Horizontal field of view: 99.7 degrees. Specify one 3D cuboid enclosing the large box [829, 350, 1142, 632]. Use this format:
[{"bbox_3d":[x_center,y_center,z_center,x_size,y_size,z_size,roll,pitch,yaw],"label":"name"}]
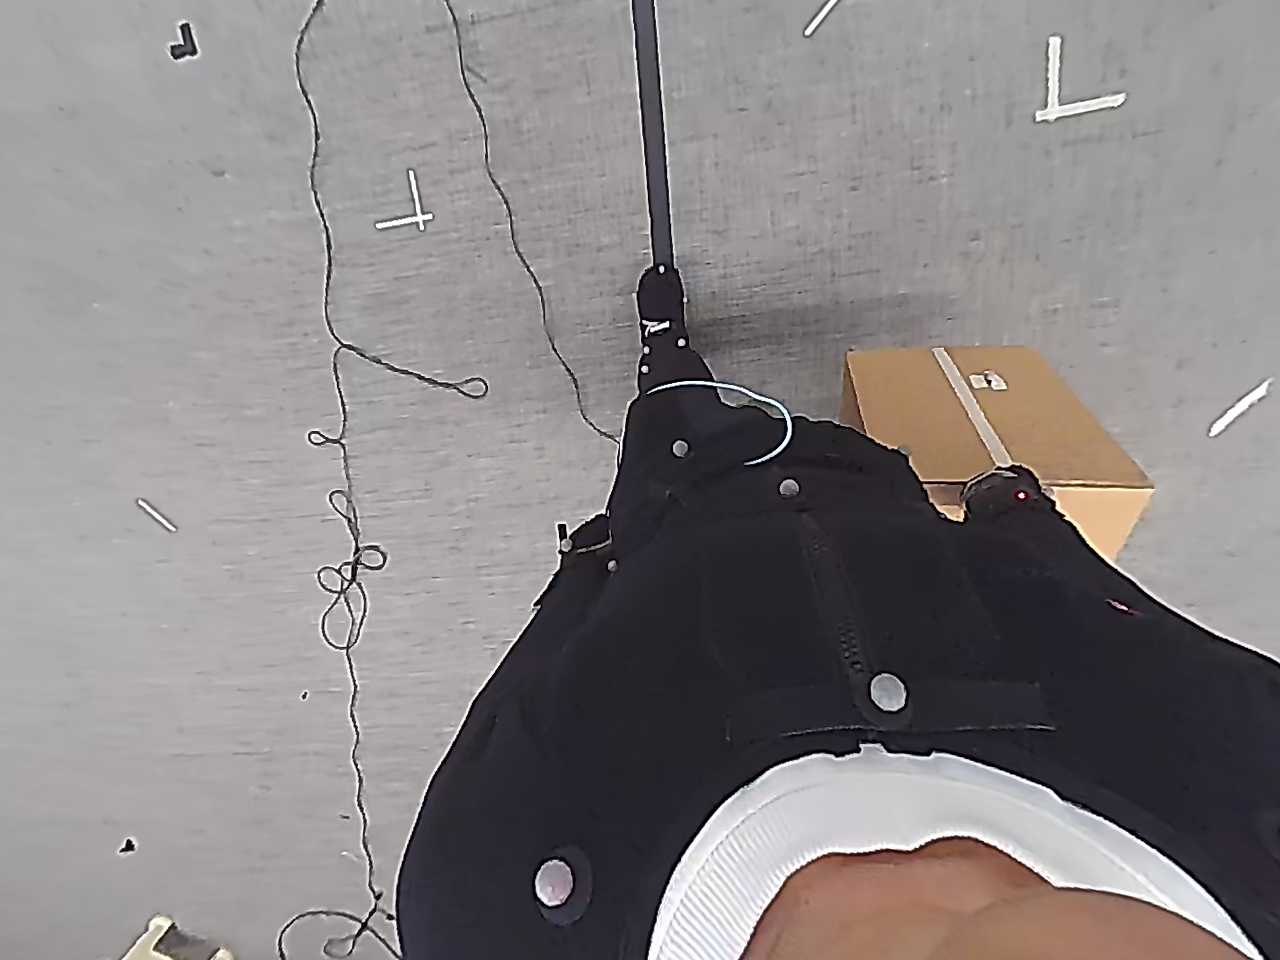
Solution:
[{"bbox_3d":[0.518,0.005,0.932,0.320,0.408,0.320,1,126,11],"label":"large box"}]
